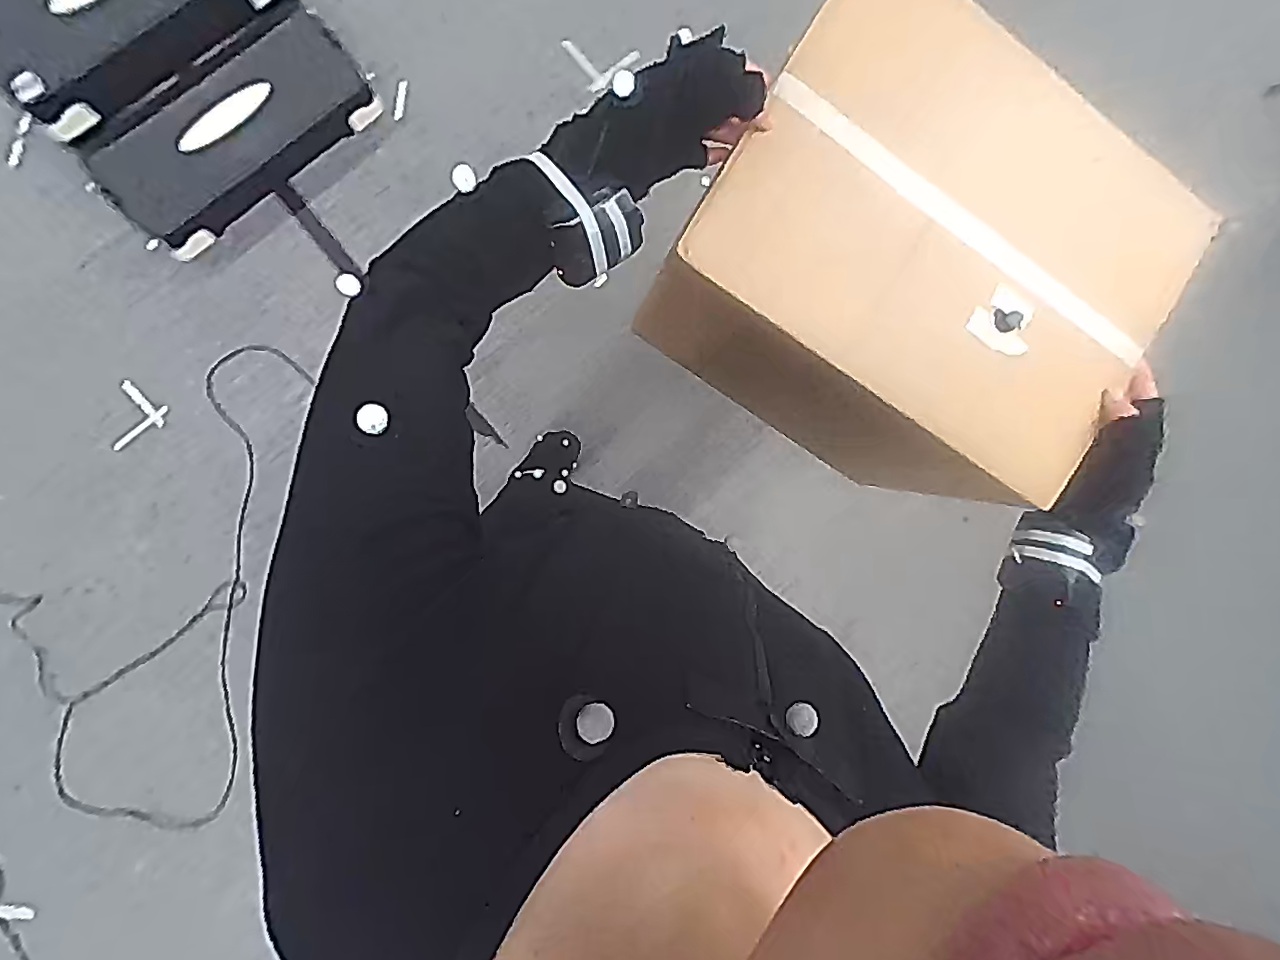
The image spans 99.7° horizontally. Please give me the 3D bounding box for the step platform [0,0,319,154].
[{"bbox_3d":[-1.150,-1.126,1.290,0.684,0.204,0.286,-43,94,-7],"label":"step platform"}]

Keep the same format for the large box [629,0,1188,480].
[{"bbox_3d":[0.245,-0.234,0.615,0.408,0.320,0.320,30,90,-9],"label":"large box"}]
